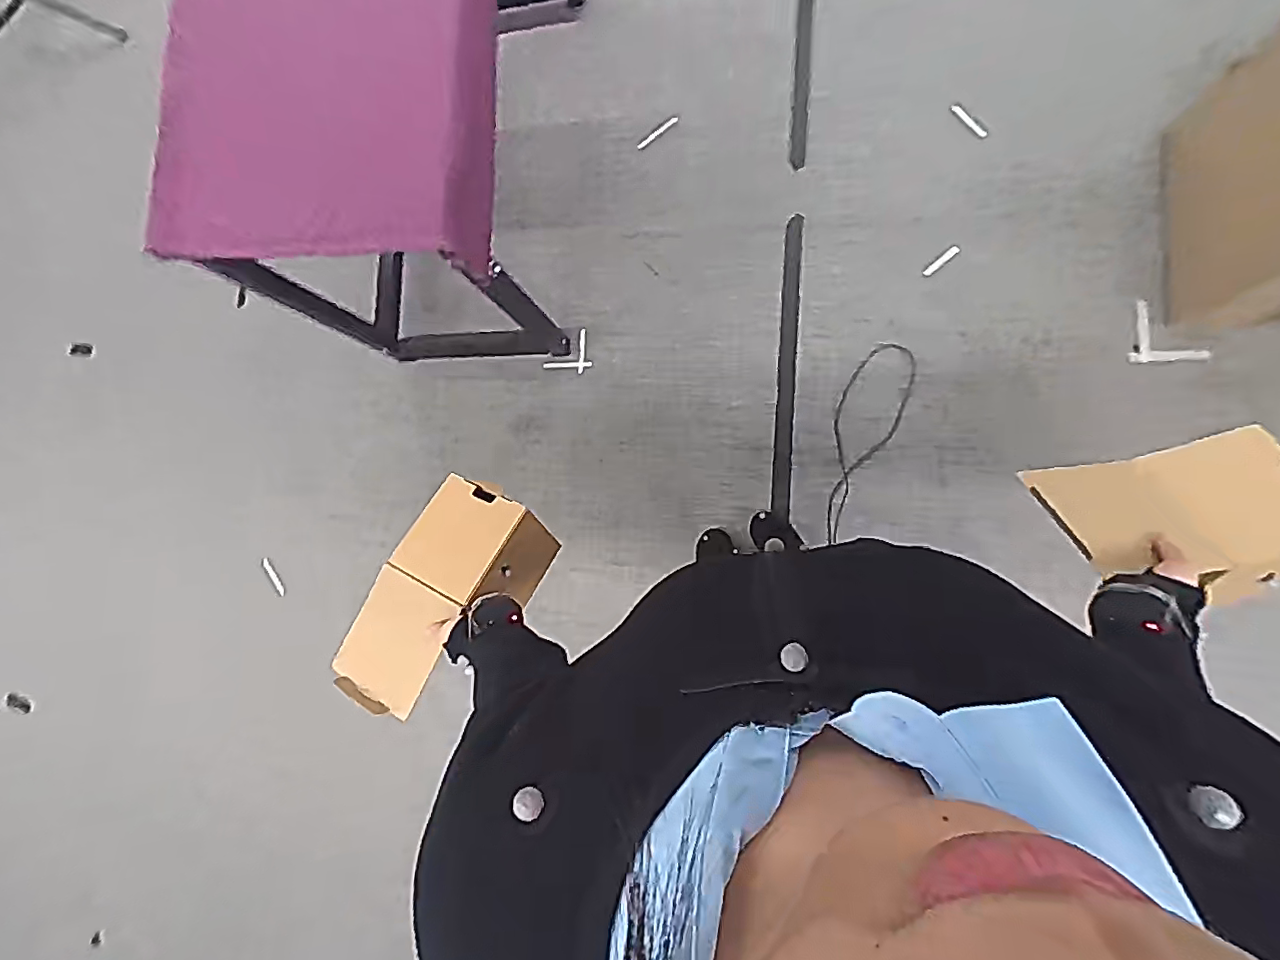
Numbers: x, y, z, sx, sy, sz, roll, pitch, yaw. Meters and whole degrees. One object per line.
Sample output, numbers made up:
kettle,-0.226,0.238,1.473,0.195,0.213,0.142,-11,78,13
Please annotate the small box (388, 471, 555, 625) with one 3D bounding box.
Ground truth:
small box,-0.268,0.119,0.906,0.168,0.176,0.179,22,68,22
